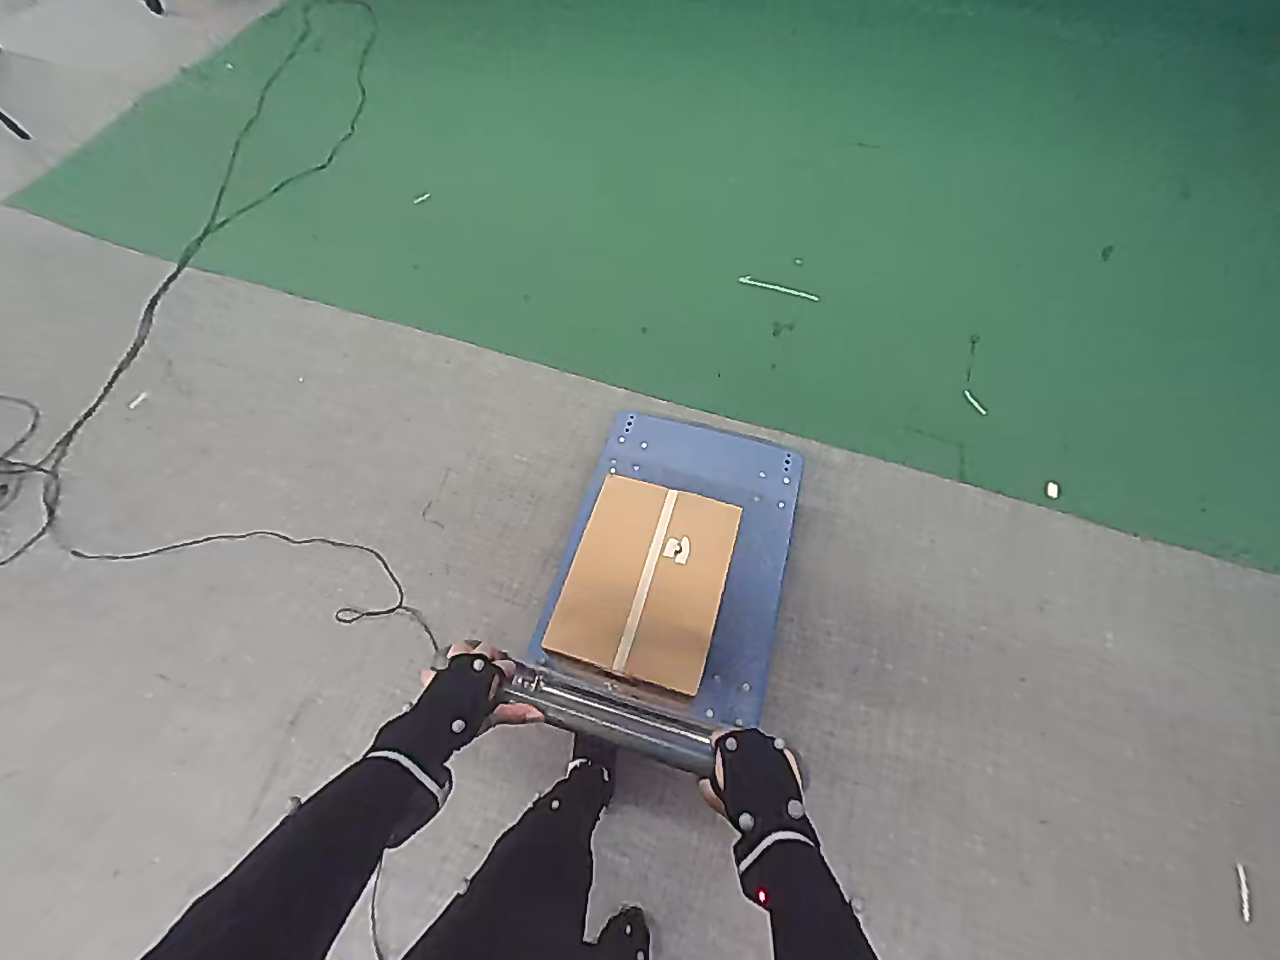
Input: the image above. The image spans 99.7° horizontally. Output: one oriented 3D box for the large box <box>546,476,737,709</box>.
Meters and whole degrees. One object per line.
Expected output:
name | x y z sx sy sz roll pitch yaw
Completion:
large box | 0.017 0.265 1.248 0.320 0.320 0.408 15 62 8
